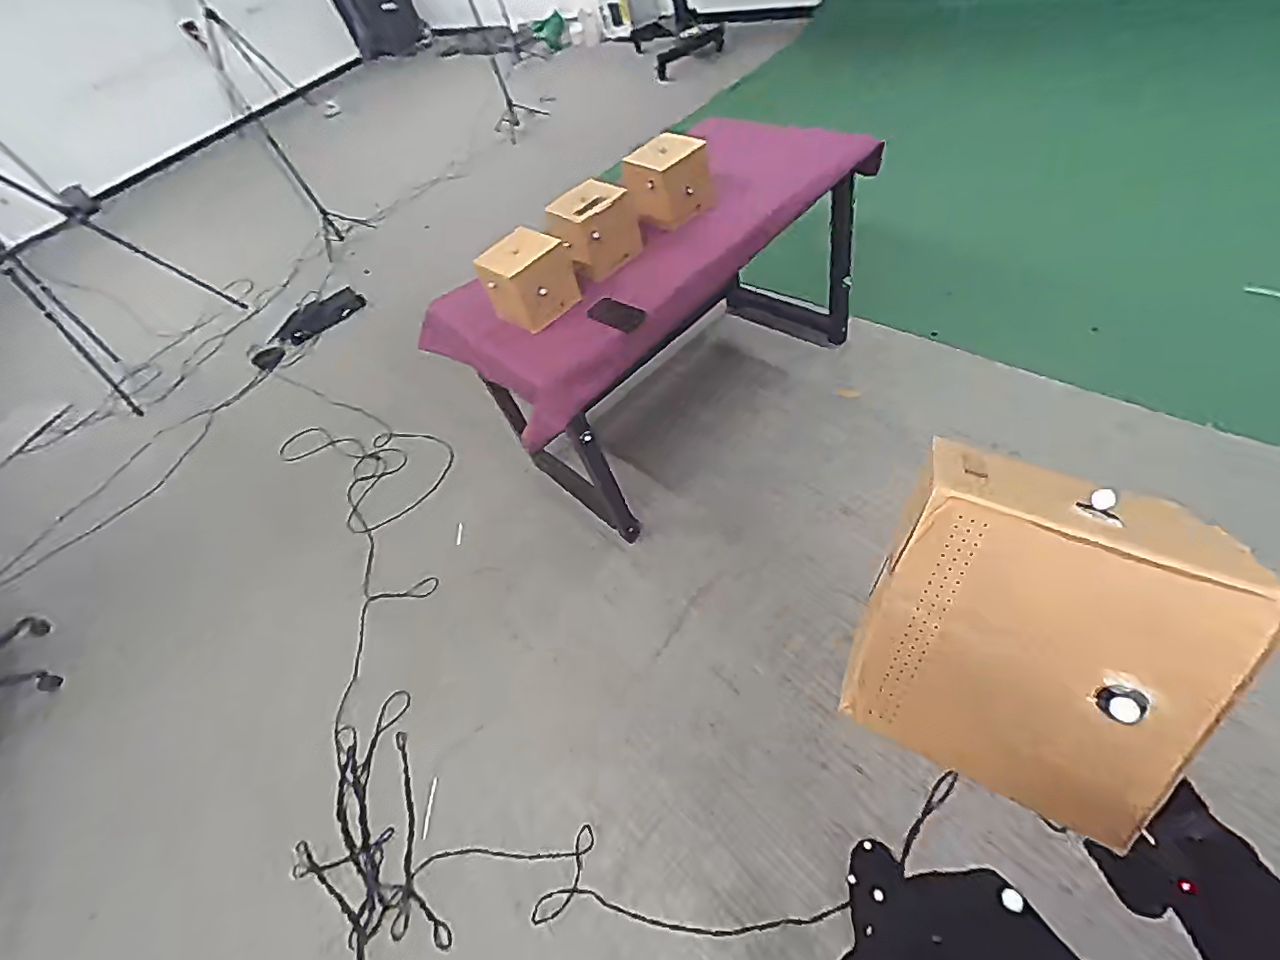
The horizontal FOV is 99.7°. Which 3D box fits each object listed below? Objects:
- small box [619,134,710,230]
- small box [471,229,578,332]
[{"bbox_3d":[0.074,-0.825,1.503,0.168,0.176,0.179,-40,52,-14],"label":"small box"},{"bbox_3d":[-0.285,-0.502,1.371,0.179,0.176,0.168,32,68,35],"label":"small box"}]
